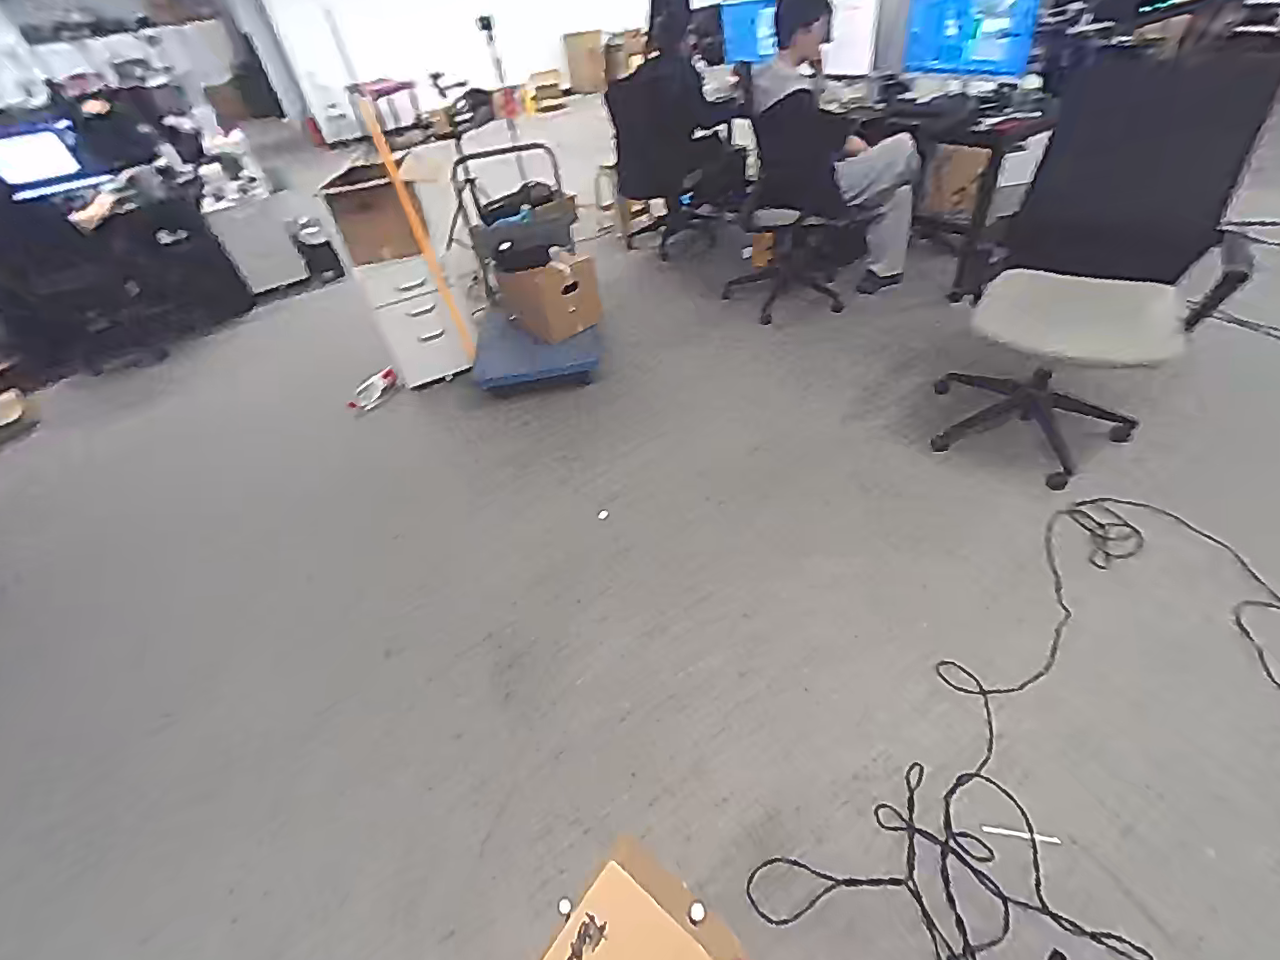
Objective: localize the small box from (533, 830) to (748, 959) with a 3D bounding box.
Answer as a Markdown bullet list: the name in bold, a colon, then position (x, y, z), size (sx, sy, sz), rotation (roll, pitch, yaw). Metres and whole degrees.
- **small box**: position (0.000, 0.496, 0.551), size (0.179, 0.176, 0.168), rotation (36, 71, 17)
